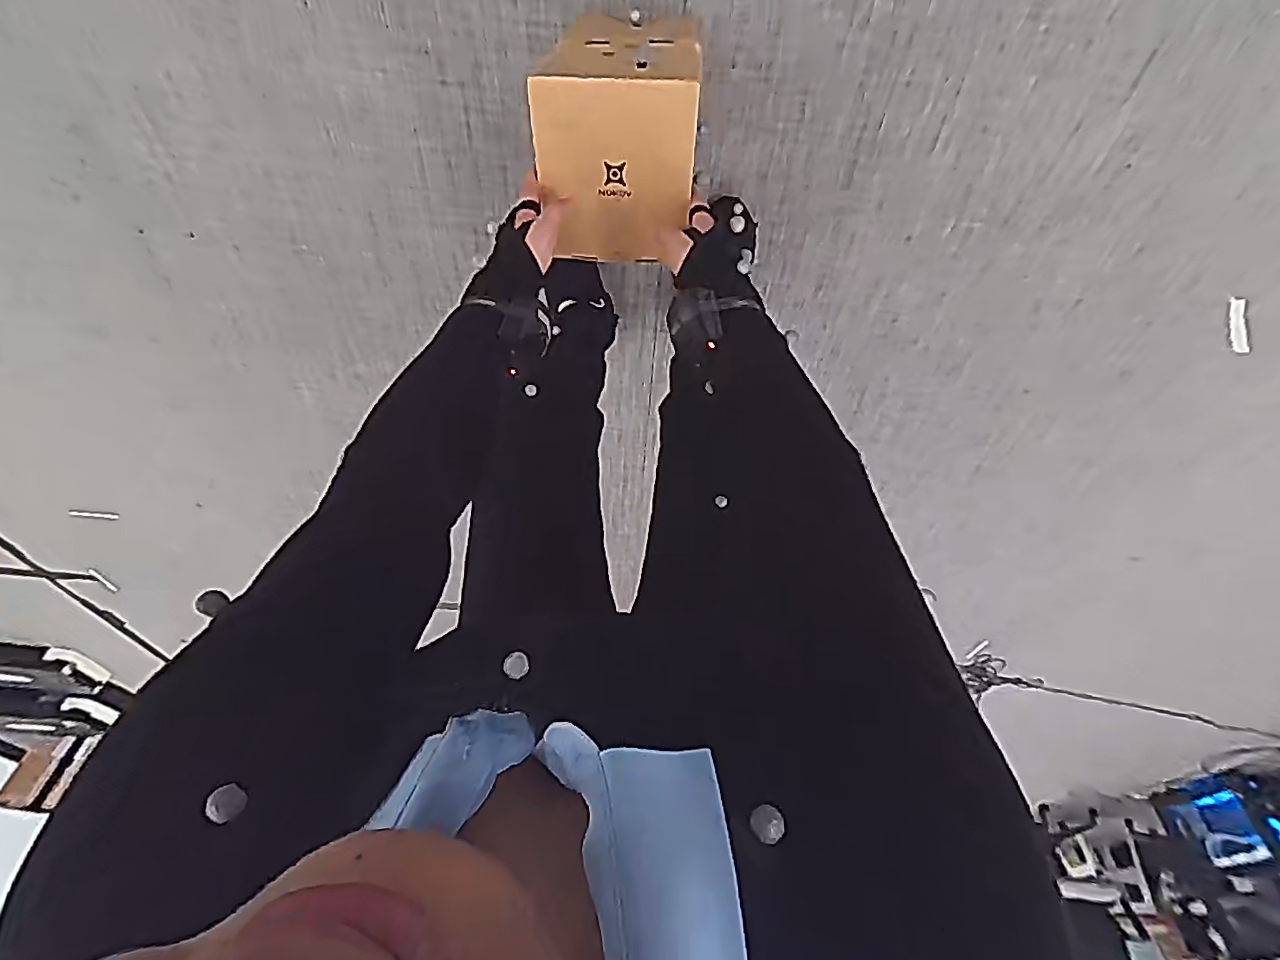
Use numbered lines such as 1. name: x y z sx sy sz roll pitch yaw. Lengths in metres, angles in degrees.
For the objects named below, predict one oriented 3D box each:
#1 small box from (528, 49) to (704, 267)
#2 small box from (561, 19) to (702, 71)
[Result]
1. small box: -0.019 -0.364 0.609 0.168 0.176 0.179 4 137 3
2. small box: -0.006 -0.495 0.729 0.168 0.176 0.179 2 137 2
